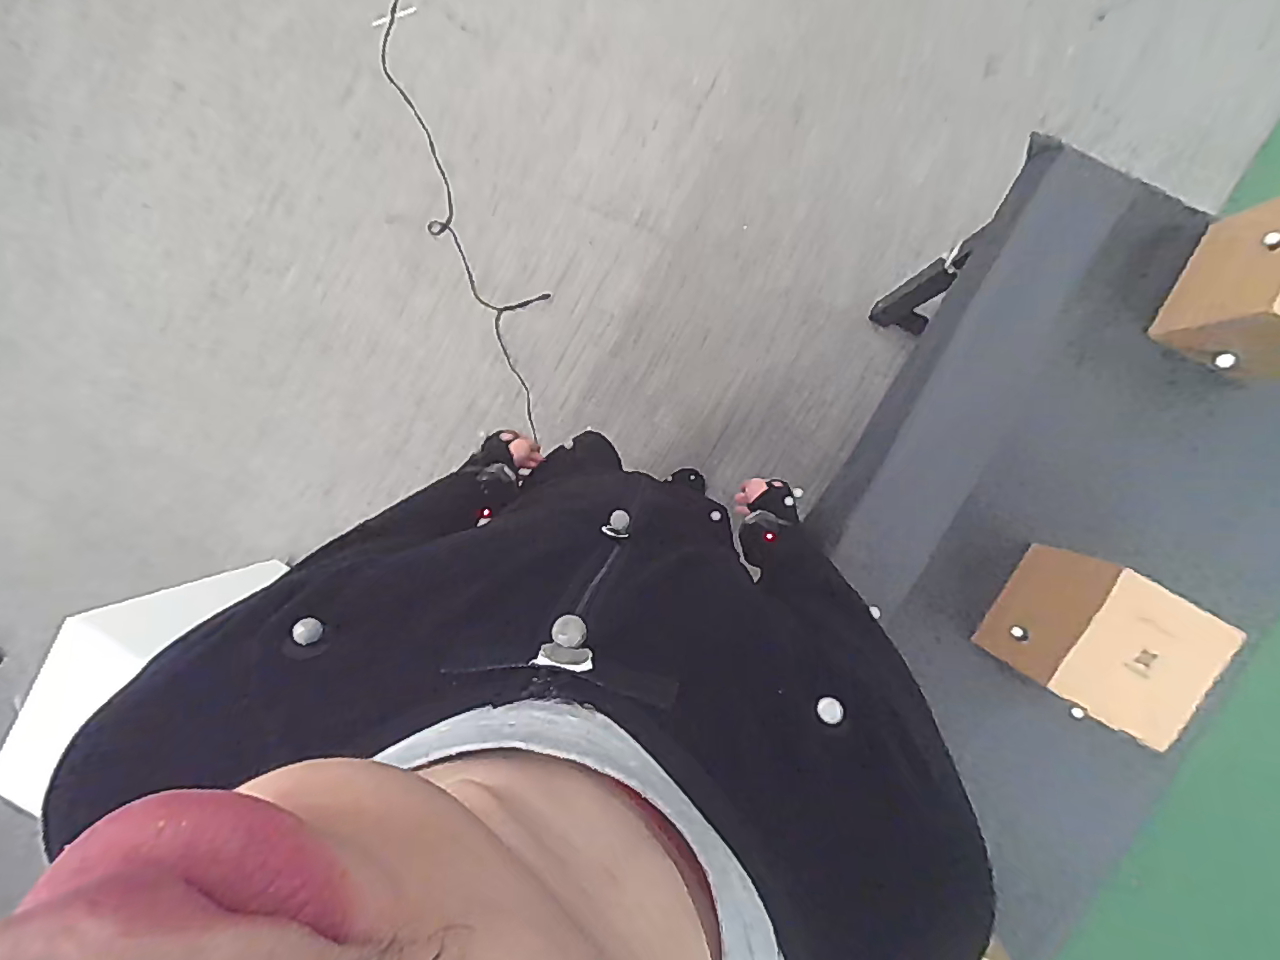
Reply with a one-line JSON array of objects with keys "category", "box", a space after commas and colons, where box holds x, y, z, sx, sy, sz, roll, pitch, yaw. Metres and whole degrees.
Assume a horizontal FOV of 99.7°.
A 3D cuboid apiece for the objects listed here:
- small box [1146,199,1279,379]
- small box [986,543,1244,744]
[{"category": "small box", "box": [0.831, -0.250, 0.702, 0.168, 0.176, 0.179, 26, 94, 0]}, {"category": "small box", "box": [0.616, 0.205, 0.731, 0.168, 0.176, 0.179, 28, 92, -2]}]
